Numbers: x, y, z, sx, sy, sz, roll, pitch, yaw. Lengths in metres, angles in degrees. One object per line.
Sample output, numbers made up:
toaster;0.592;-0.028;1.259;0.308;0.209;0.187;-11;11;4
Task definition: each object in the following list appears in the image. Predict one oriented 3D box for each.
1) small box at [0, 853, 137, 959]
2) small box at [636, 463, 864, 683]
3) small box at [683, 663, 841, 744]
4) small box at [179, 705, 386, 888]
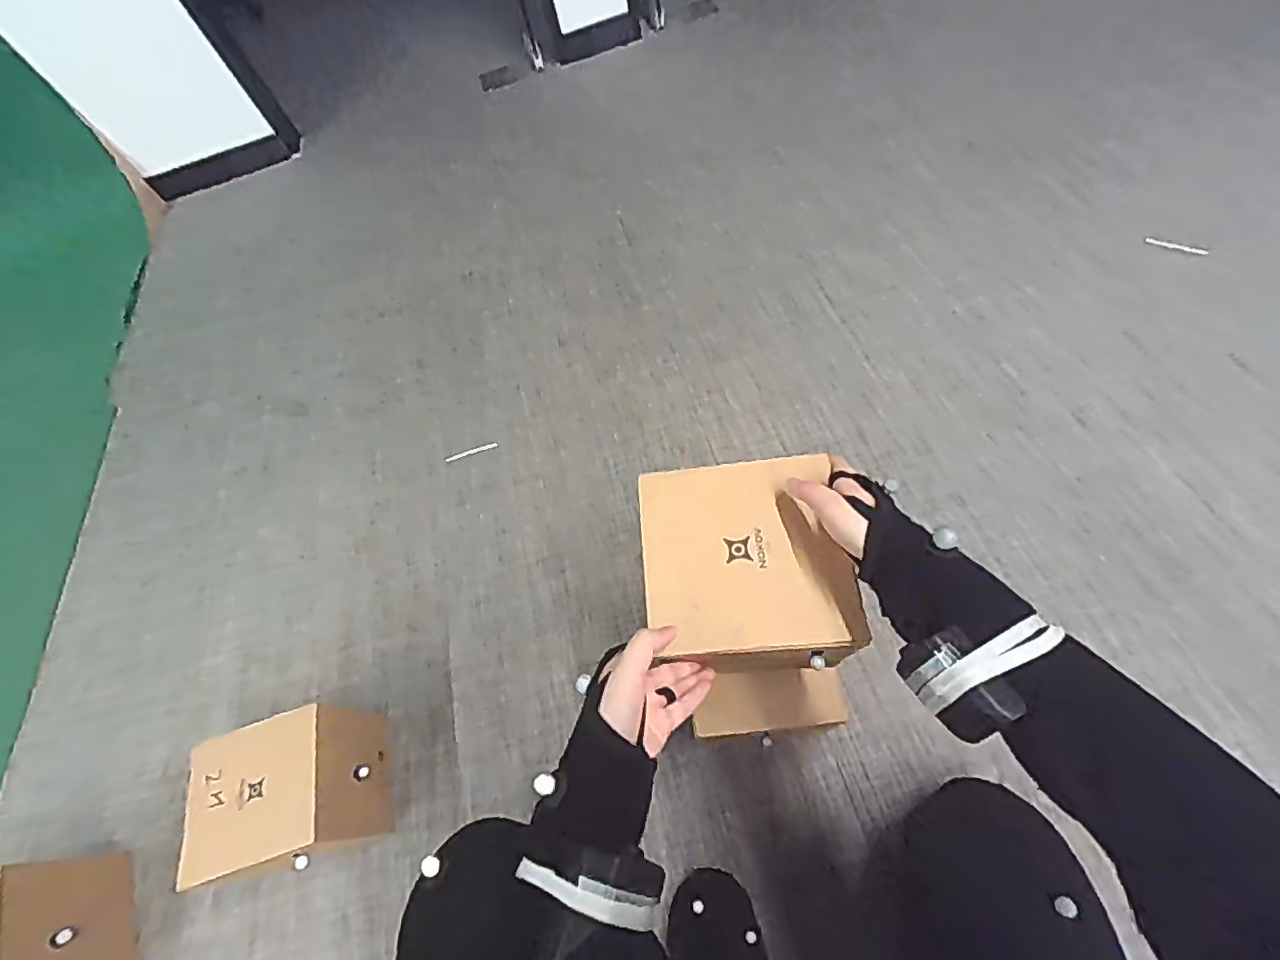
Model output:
small box;-0.814;0.630;0.708;0.168;0.176;0.179;-33;61;-8
small box;0.097;0.101;0.534;0.179;0.176;0.168;-6;63;5
small box;0.150;0.253;0.723;0.179;0.176;0.168;-9;61;6
small box;-0.473;0.428;0.749;0.179;0.176;0.168;-19;59;0
